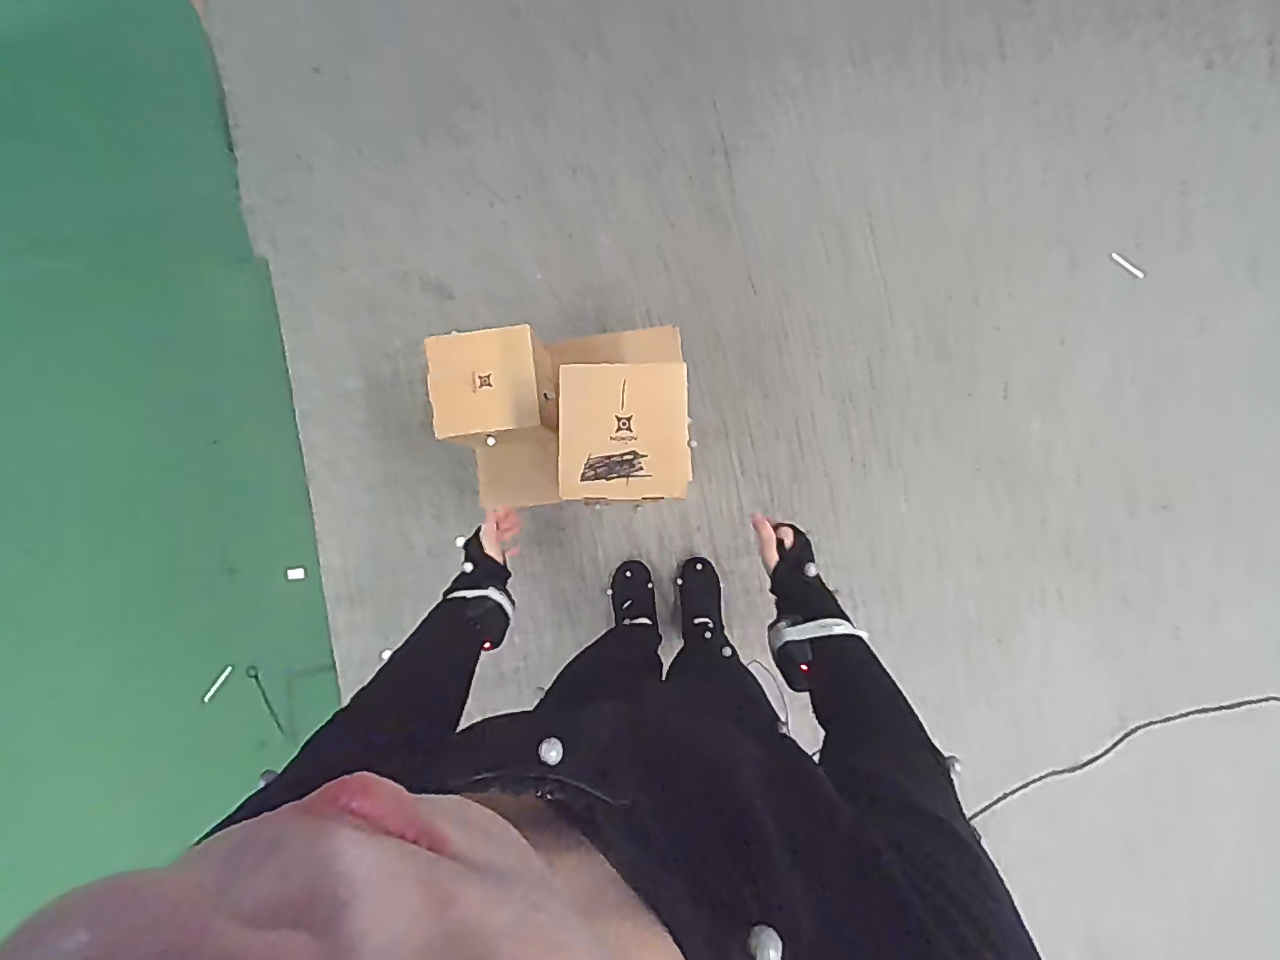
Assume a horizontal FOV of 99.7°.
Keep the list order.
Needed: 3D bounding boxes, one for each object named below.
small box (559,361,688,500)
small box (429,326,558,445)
[{"bbox_3d":[-0.016,-0.060,0.765,0.168,0.176,0.179,0,86,2],"label":"small box"},{"bbox_3d":[-0.245,-0.157,0.946,0.179,0.176,0.168,-7,87,2],"label":"small box"}]
